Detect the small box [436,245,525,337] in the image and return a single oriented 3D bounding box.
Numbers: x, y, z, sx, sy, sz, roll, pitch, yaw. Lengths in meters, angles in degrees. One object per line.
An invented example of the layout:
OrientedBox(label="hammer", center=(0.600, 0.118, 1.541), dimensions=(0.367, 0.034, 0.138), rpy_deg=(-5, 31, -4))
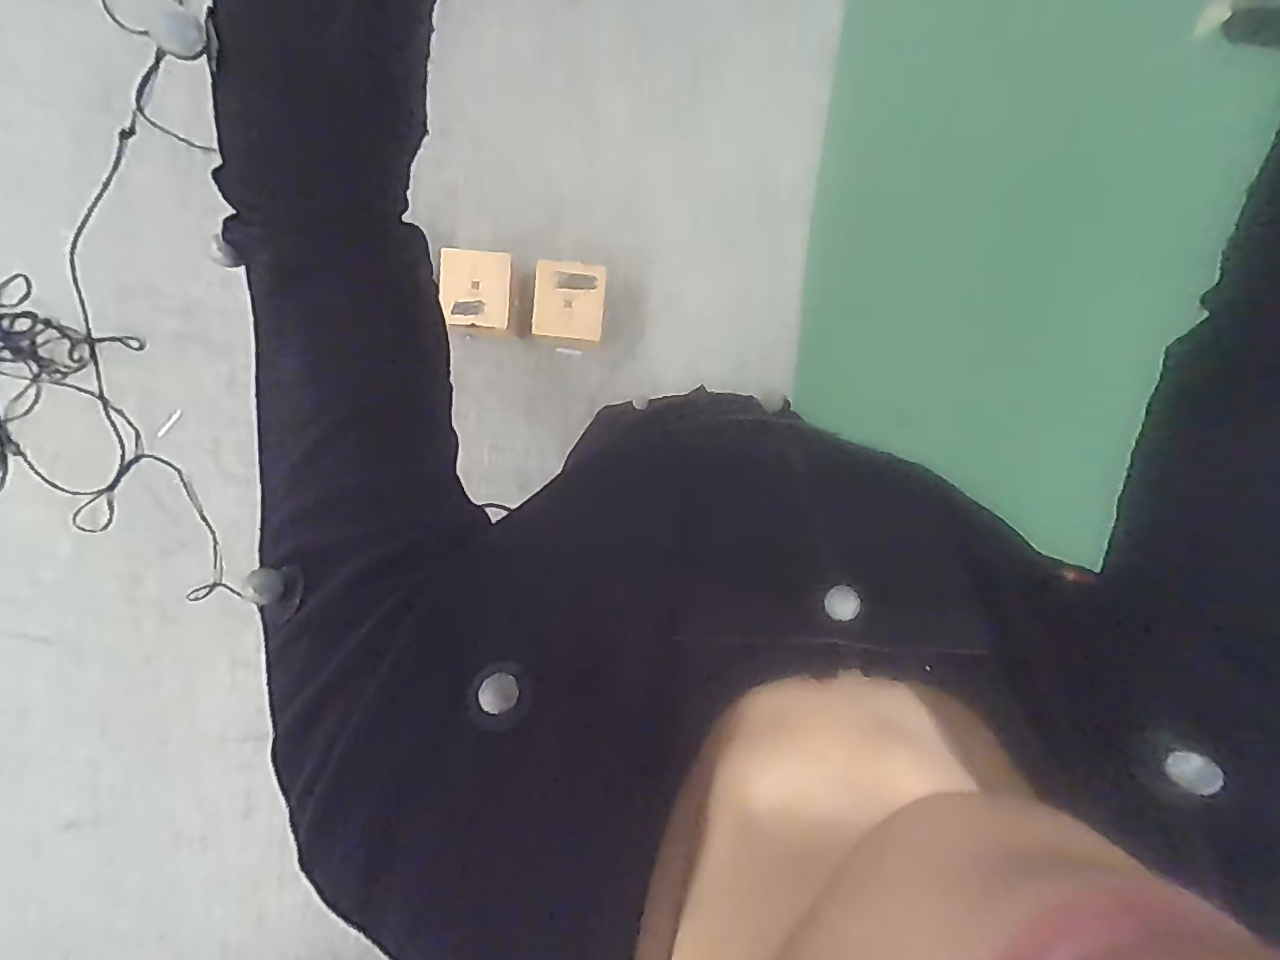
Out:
OrientedBox(label="small box", center=(-0.388, -0.458, 1.337), dimensions=(0.168, 0.176, 0.179), rpy_deg=(5, 95, 0))
